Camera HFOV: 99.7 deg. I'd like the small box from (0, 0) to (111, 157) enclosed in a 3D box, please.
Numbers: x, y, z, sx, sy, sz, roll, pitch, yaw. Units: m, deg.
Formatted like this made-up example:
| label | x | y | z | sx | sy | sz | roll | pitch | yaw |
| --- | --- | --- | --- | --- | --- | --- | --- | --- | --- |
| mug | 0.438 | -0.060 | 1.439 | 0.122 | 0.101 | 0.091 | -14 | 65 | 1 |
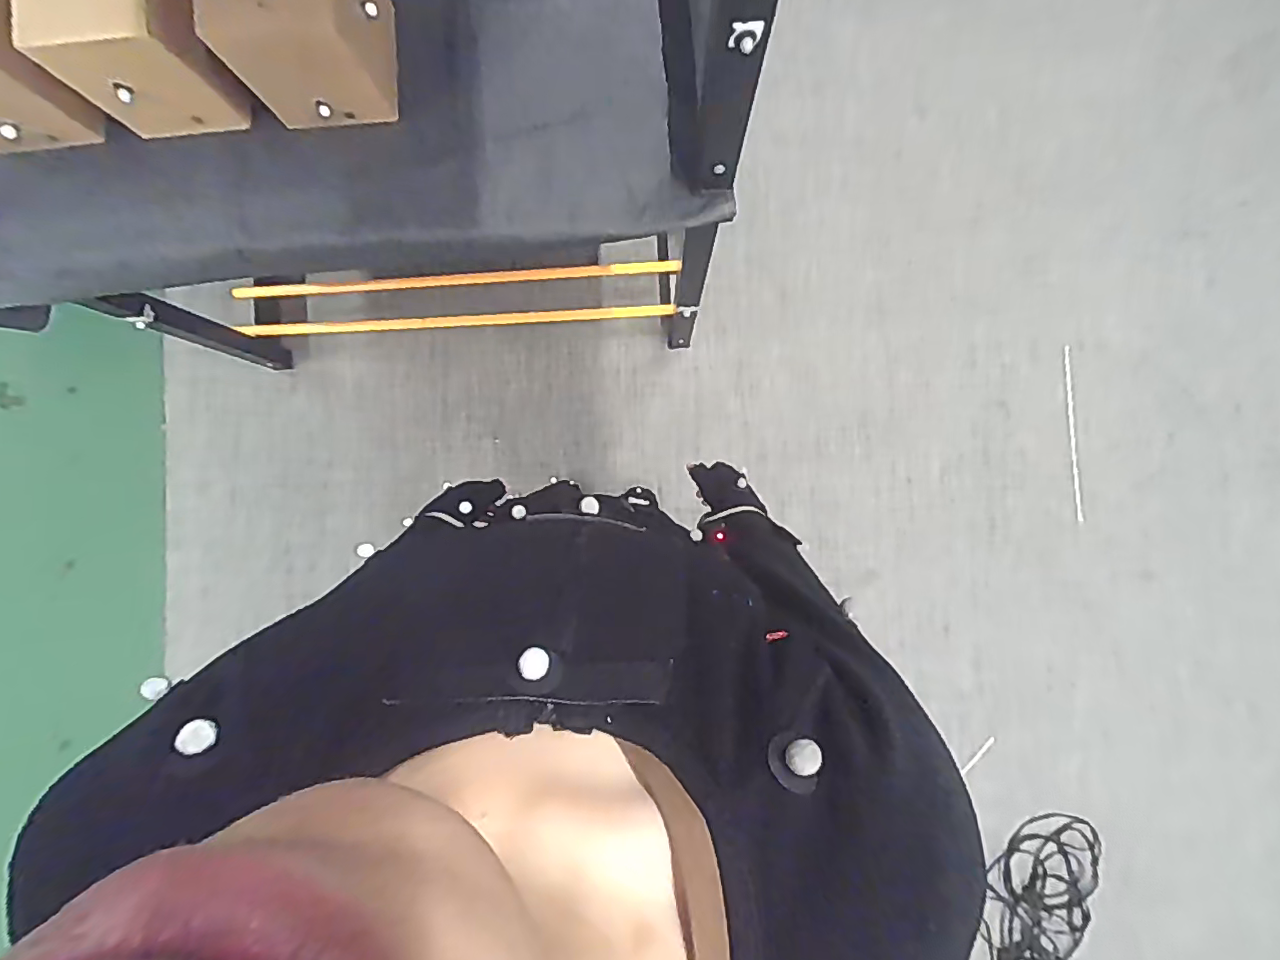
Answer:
| label | x | y | z | sx | sy | sz | roll | pitch | yaw |
| --- | --- | --- | --- | --- | --- | --- | --- | --- | --- |
| small box | -0.872 | -0.575 | 0.727 | 0.168 | 0.176 | 0.179 | -5 | 88 | 1 |
